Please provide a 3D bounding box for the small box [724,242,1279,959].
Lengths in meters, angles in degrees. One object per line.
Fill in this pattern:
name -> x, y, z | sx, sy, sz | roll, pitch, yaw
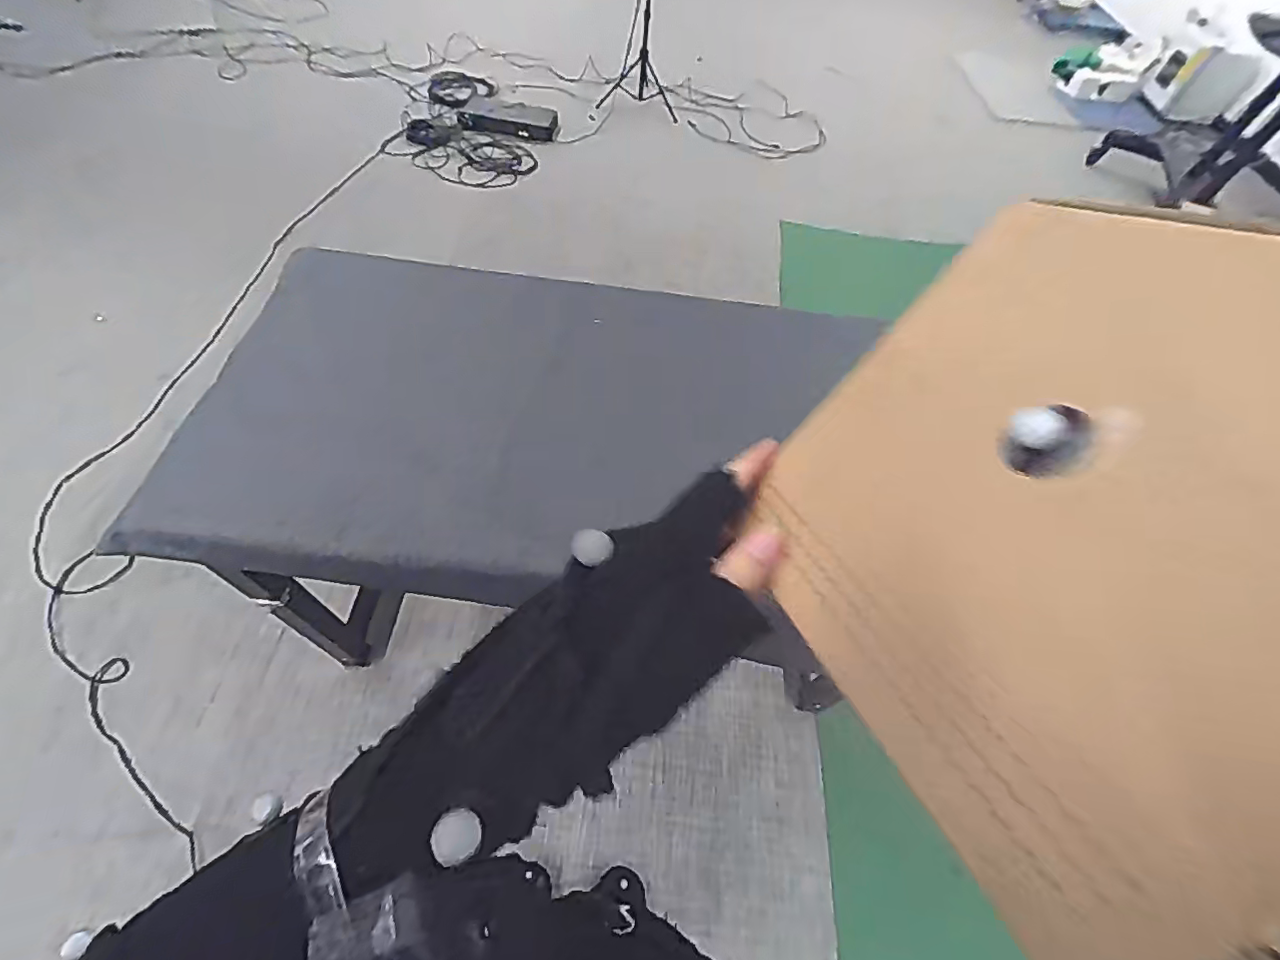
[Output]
small box -> 0.166, 0.046, 0.208 | 0.168, 0.176, 0.179 | 32, 17, -33
